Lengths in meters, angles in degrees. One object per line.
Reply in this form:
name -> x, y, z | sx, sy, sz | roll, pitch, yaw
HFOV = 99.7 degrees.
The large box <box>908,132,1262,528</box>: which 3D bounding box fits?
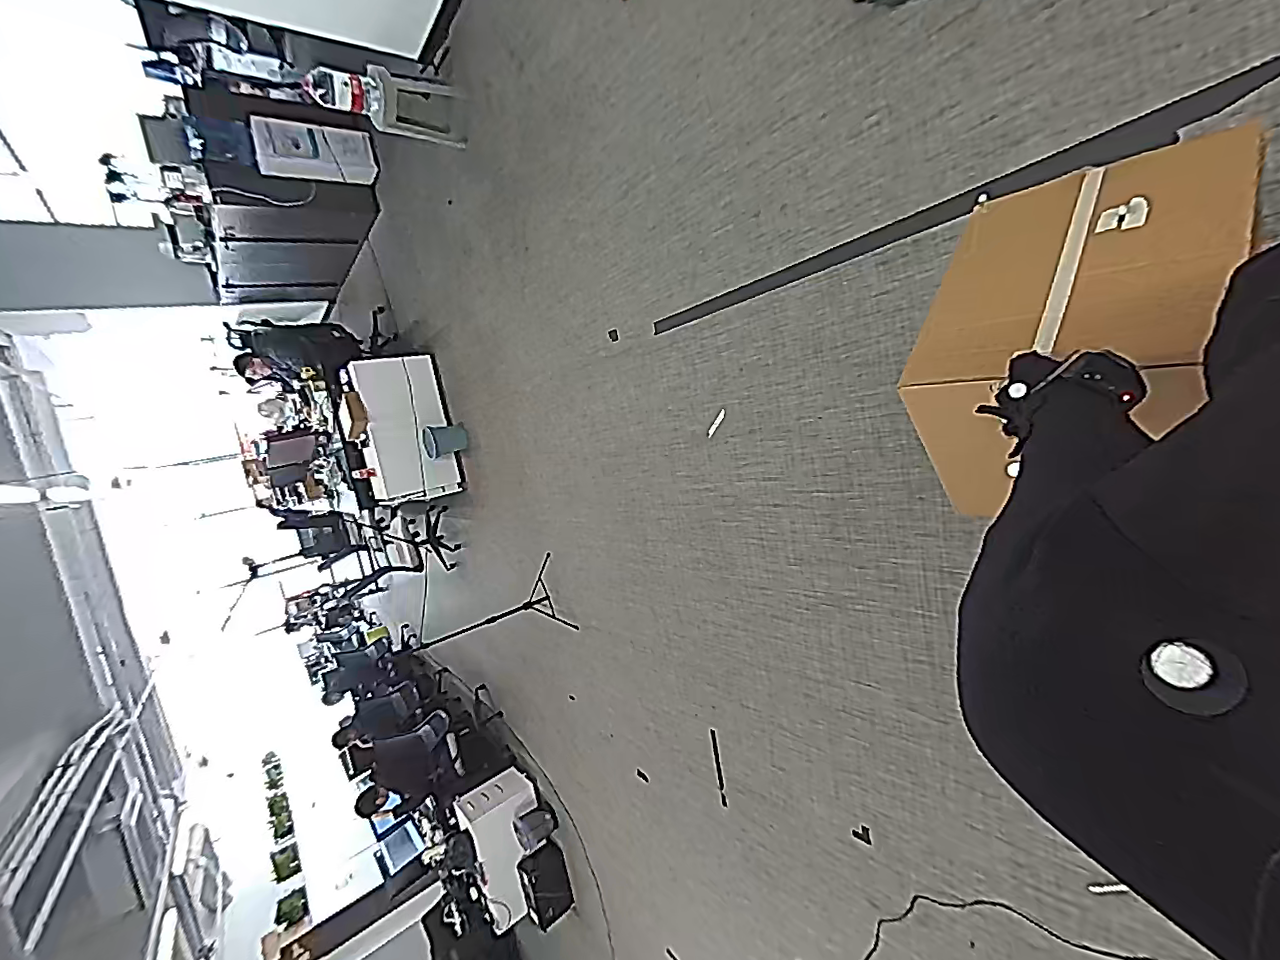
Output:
large box -> 0.650, -0.186, 0.781 | 0.320, 0.408, 0.320 | 6, 147, 50
